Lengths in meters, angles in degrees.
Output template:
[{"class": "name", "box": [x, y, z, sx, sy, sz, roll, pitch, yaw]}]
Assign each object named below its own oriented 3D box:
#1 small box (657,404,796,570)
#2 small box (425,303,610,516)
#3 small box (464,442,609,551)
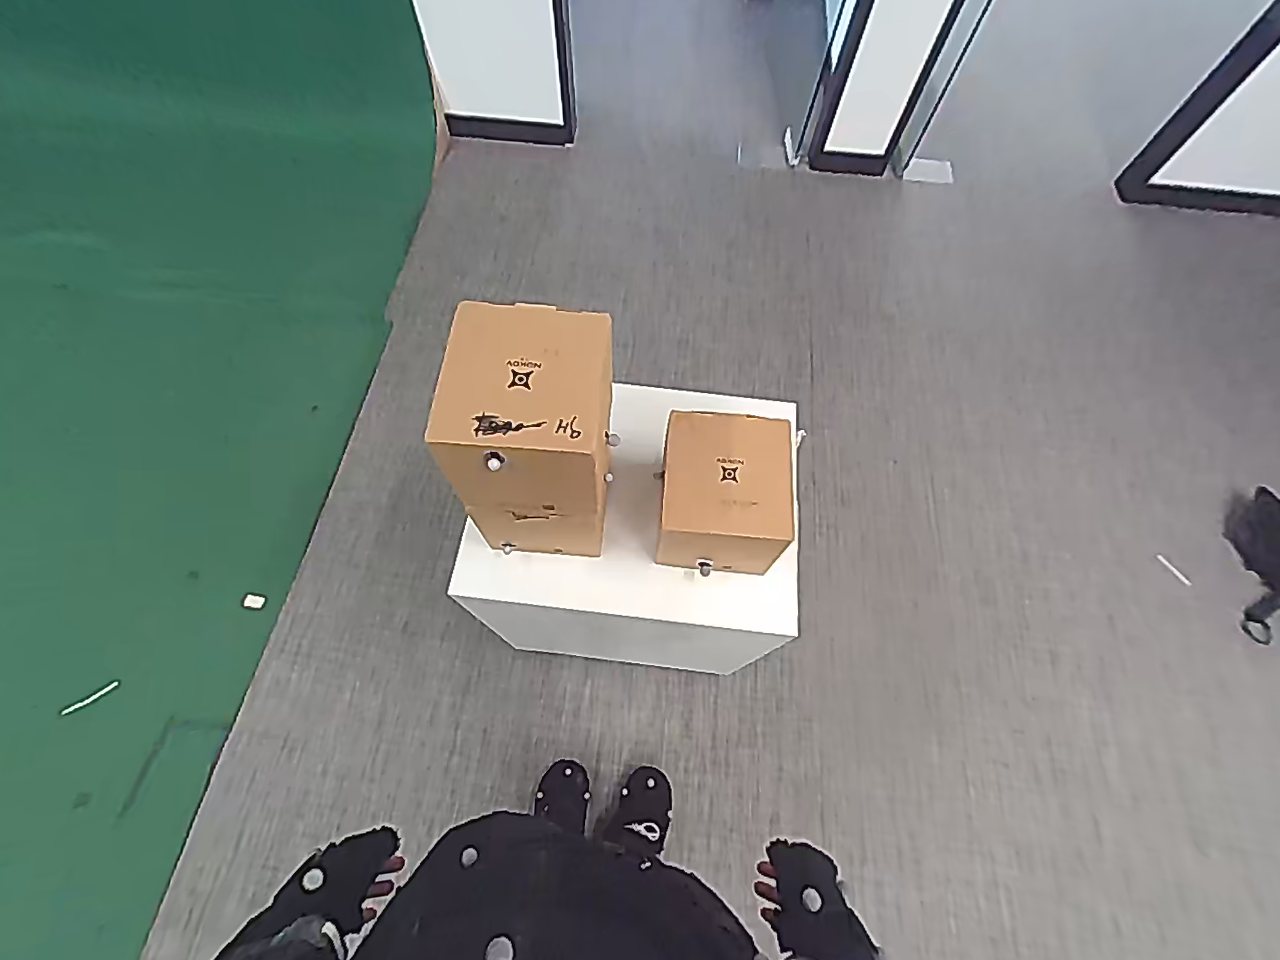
[{"class": "small box", "box": [0.112, 0.015, 0.756, 0.168, 0.176, 0.179, 3, 67, 2]}, {"class": "small box", "box": [-0.124, -0.075, 0.627, 0.168, 0.176, 0.179, 4, 64, 0]}, {"class": "small box", "box": [-0.133, -0.006, 0.774, 0.168, 0.176, 0.179, 4, 64, 0]}]
